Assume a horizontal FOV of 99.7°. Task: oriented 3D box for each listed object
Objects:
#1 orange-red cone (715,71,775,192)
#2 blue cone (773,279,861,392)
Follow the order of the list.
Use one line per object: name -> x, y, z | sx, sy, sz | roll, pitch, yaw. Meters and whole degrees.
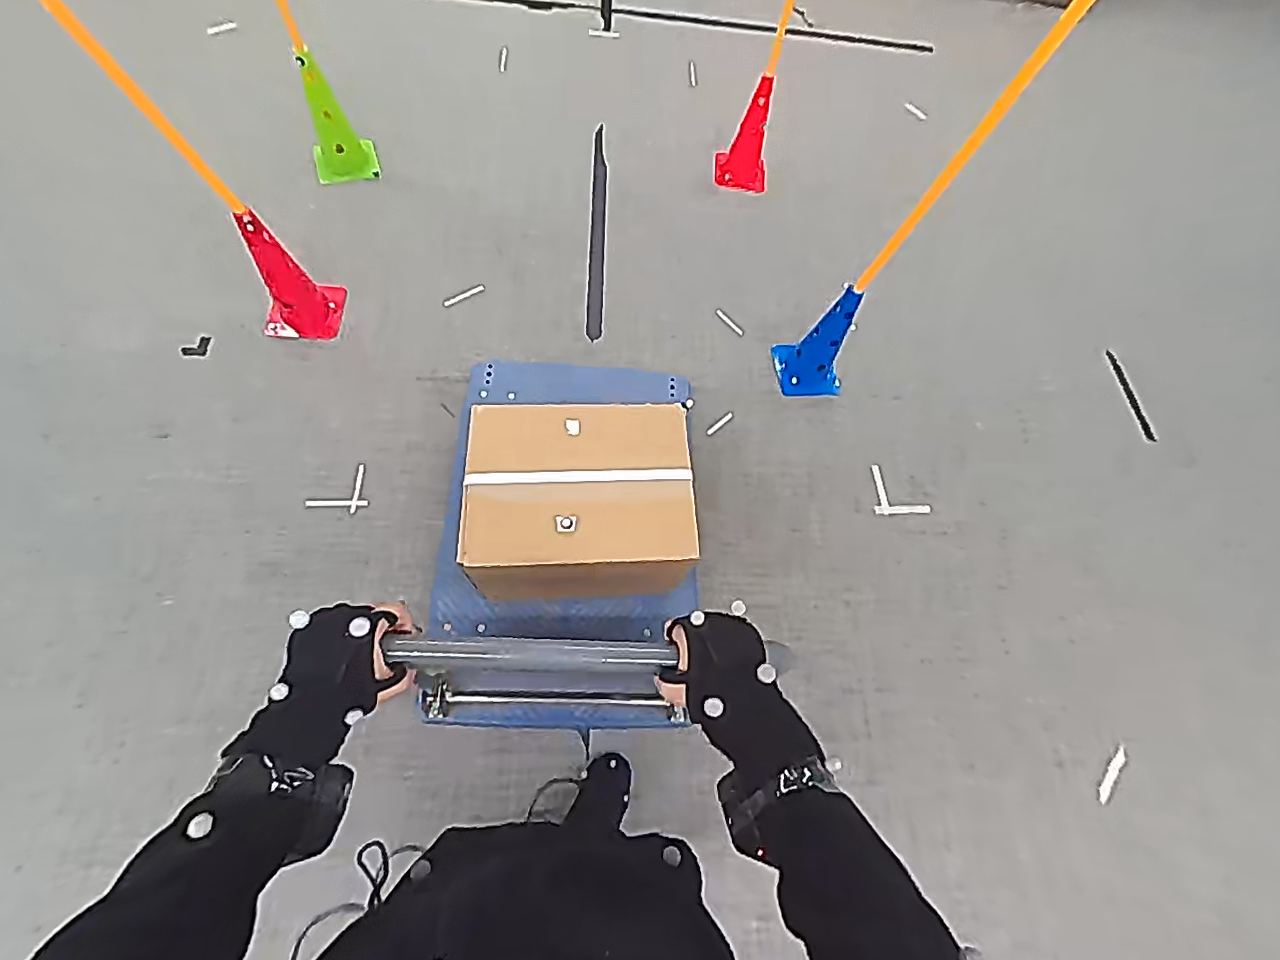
orange-red cone -> 0.410, -1.264, 1.934 | 0.199, 0.360, 0.198 | 8, 66, -4
blue cone -> 0.552, -0.431, 1.593 | 0.193, 0.380, 0.192 | -2, 65, -8
